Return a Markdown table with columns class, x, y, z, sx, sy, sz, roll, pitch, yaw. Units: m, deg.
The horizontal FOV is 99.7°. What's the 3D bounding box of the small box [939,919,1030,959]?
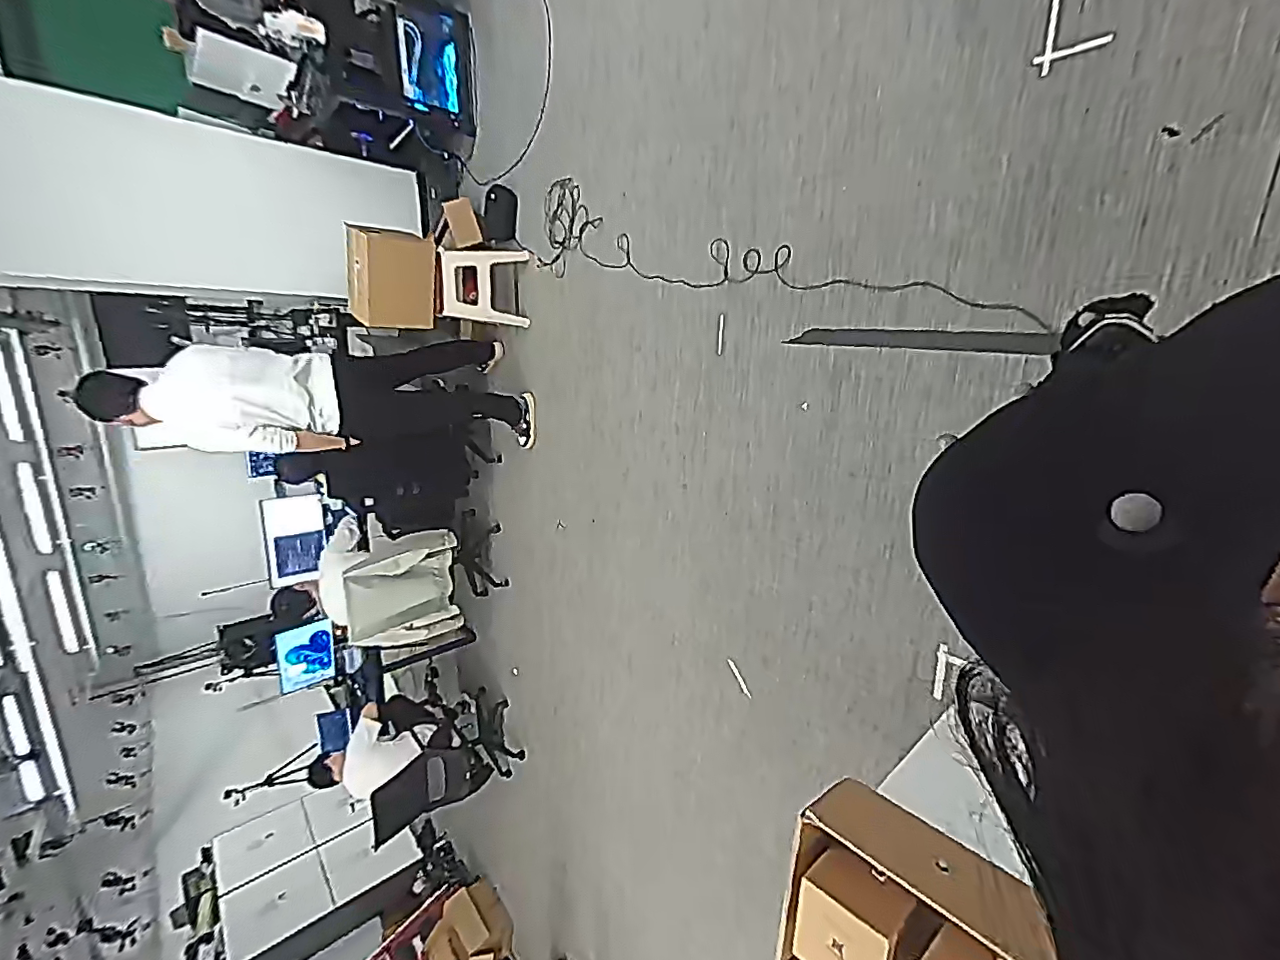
| class | x | y | z | sx | sy | sz | roll | pitch | yaw |
| --- | --- | --- | --- | --- | --- | --- | --- | --- | --- |
| small box | 0.565 | 0.876 | 0.865 | 0.168 | 0.176 | 0.179 | 18 | 106 | 47 |
